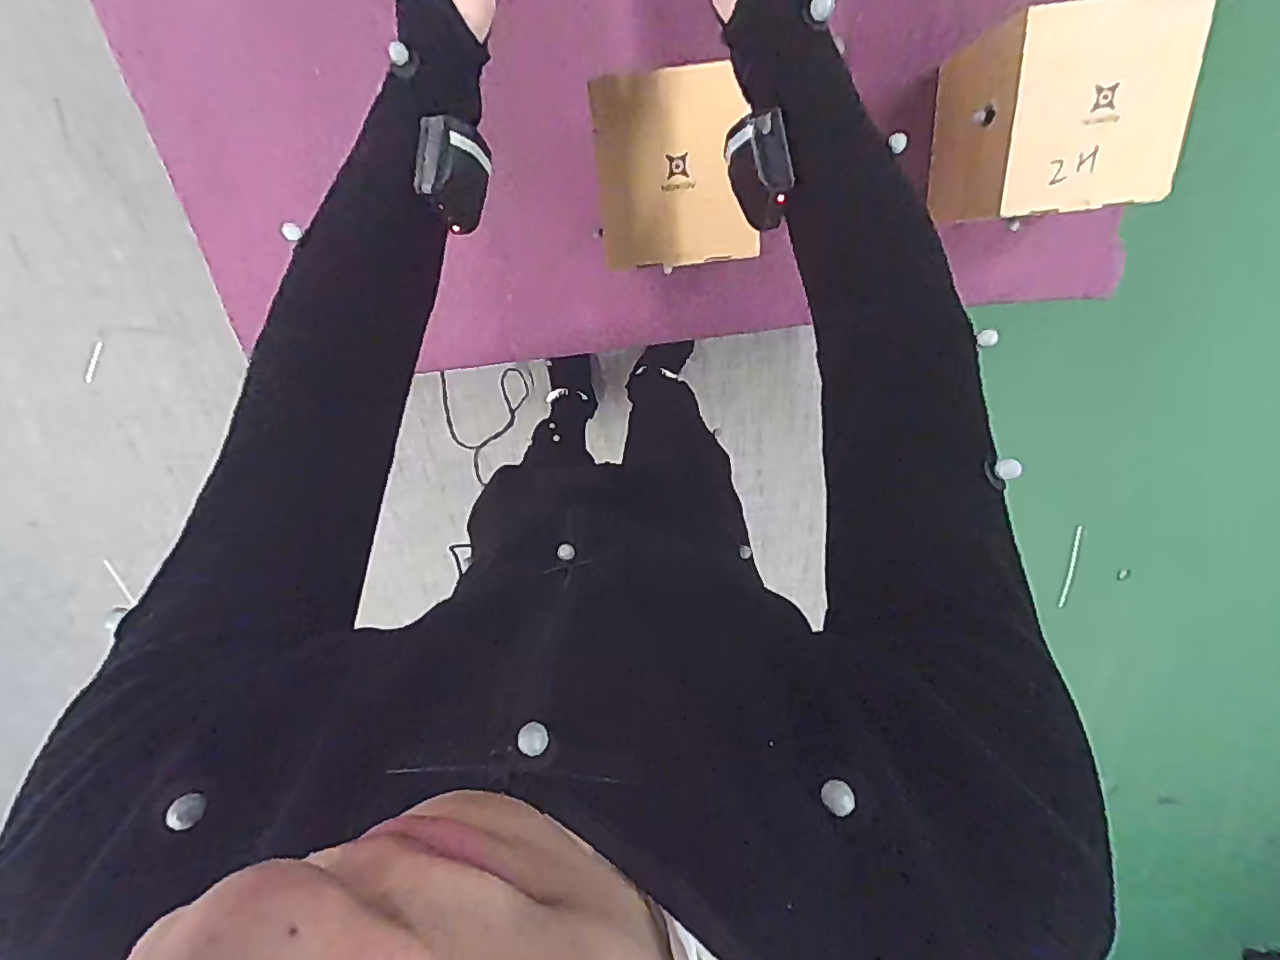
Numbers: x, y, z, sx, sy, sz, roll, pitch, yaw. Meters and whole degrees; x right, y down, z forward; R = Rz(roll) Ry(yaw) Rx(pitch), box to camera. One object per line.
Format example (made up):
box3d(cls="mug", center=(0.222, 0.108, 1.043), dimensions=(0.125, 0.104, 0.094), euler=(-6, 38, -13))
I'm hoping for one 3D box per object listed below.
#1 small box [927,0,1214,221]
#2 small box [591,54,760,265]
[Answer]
box3d(cls="small box", center=(0.439, -0.389, 0.589), dimensions=(0.168, 0.176, 0.179), euler=(-4, 114, 3))
box3d(cls="small box", center=(0.038, -0.347, 0.616), dimensions=(0.168, 0.176, 0.179), euler=(-5, 114, 2))
